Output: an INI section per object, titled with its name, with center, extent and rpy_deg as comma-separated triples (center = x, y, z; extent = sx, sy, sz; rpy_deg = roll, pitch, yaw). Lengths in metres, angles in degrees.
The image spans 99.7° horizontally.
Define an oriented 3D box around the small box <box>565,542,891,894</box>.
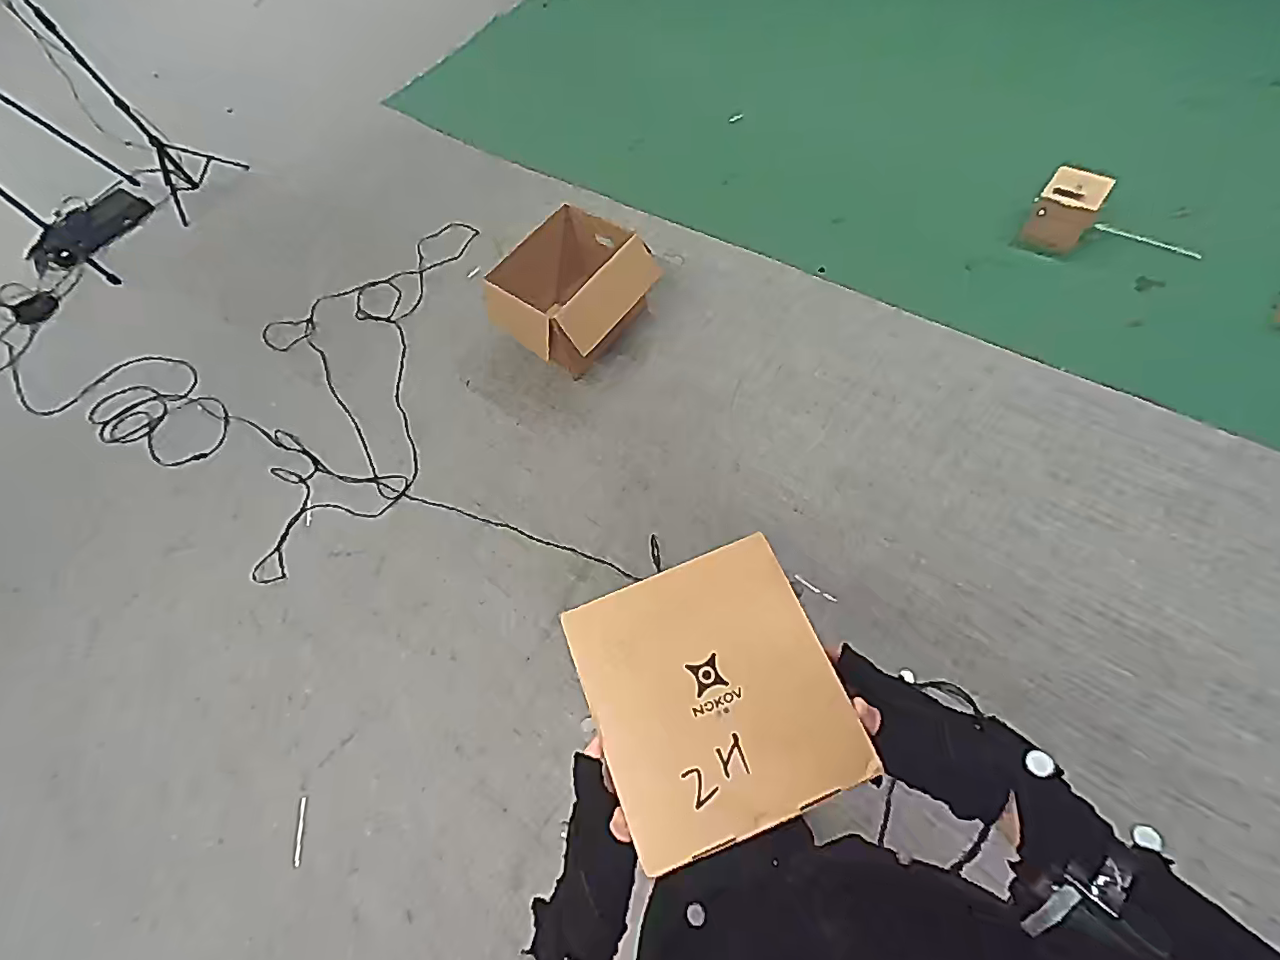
[small box]
center = 0.055, 0.176, 0.430
extent = 0.168, 0.176, 0.179
rpy_deg = -21, 68, -4
